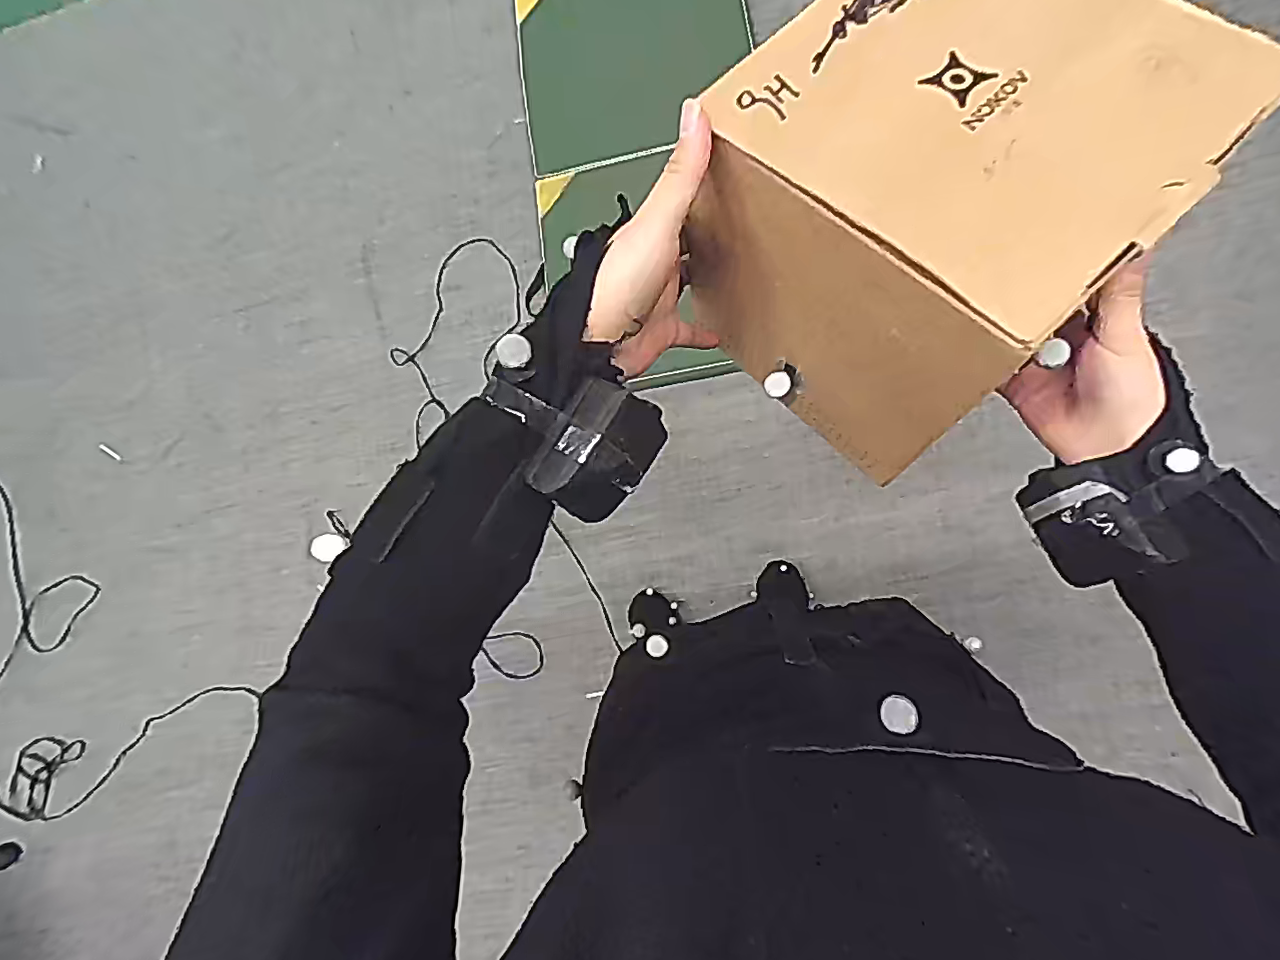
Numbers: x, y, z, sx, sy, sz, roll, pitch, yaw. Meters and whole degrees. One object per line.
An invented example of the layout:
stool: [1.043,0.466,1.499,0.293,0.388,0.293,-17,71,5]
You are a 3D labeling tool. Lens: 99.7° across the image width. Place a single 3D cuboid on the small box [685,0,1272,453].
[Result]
small box: [0.144,-0.135,0.305,0.168,0.176,0.179,-42,73,-8]
